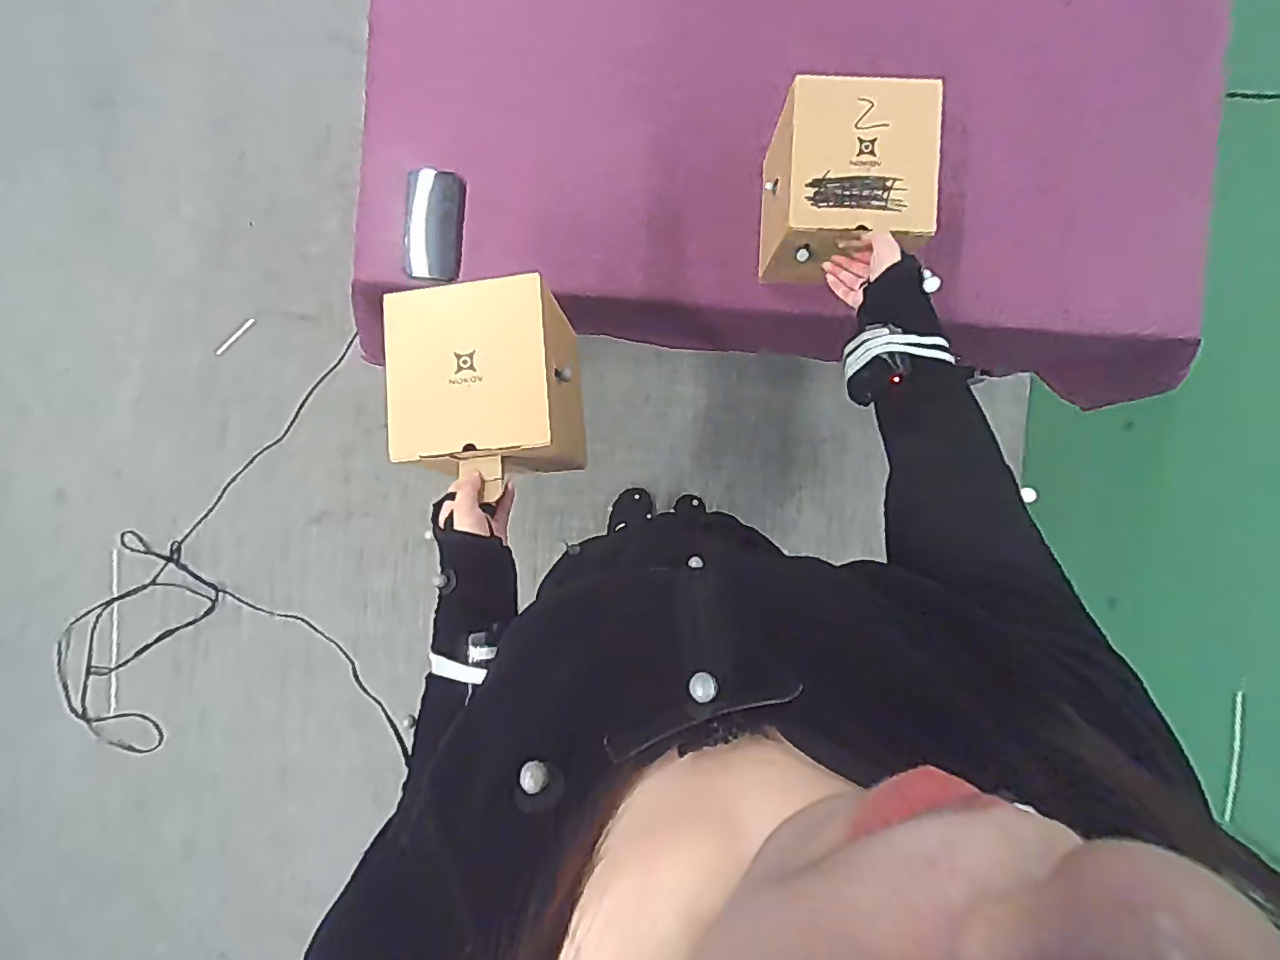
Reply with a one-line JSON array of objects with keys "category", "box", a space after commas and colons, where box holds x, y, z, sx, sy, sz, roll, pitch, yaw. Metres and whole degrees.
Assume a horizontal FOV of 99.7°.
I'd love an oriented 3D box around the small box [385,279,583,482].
[{"category": "small box", "box": [-0.164, -0.099, 0.609, 0.168, 0.176, 0.179, -5, 84, 5]}]
